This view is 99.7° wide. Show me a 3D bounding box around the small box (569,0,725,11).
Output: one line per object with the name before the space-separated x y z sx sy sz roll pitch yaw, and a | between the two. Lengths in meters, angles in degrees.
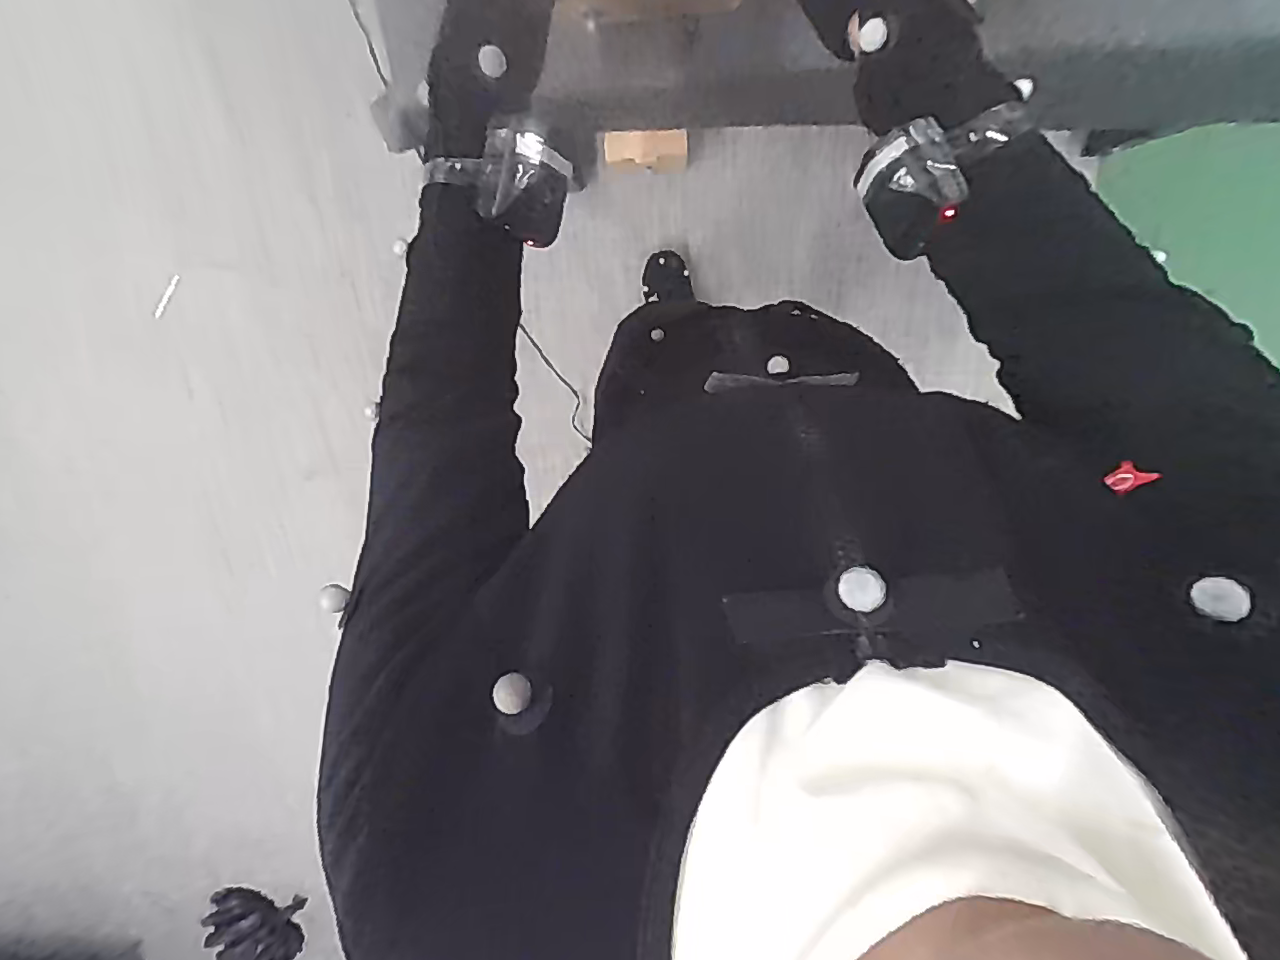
small box | 0.005 -0.476 0.392 0.168 0.176 0.179 -5 114 1
